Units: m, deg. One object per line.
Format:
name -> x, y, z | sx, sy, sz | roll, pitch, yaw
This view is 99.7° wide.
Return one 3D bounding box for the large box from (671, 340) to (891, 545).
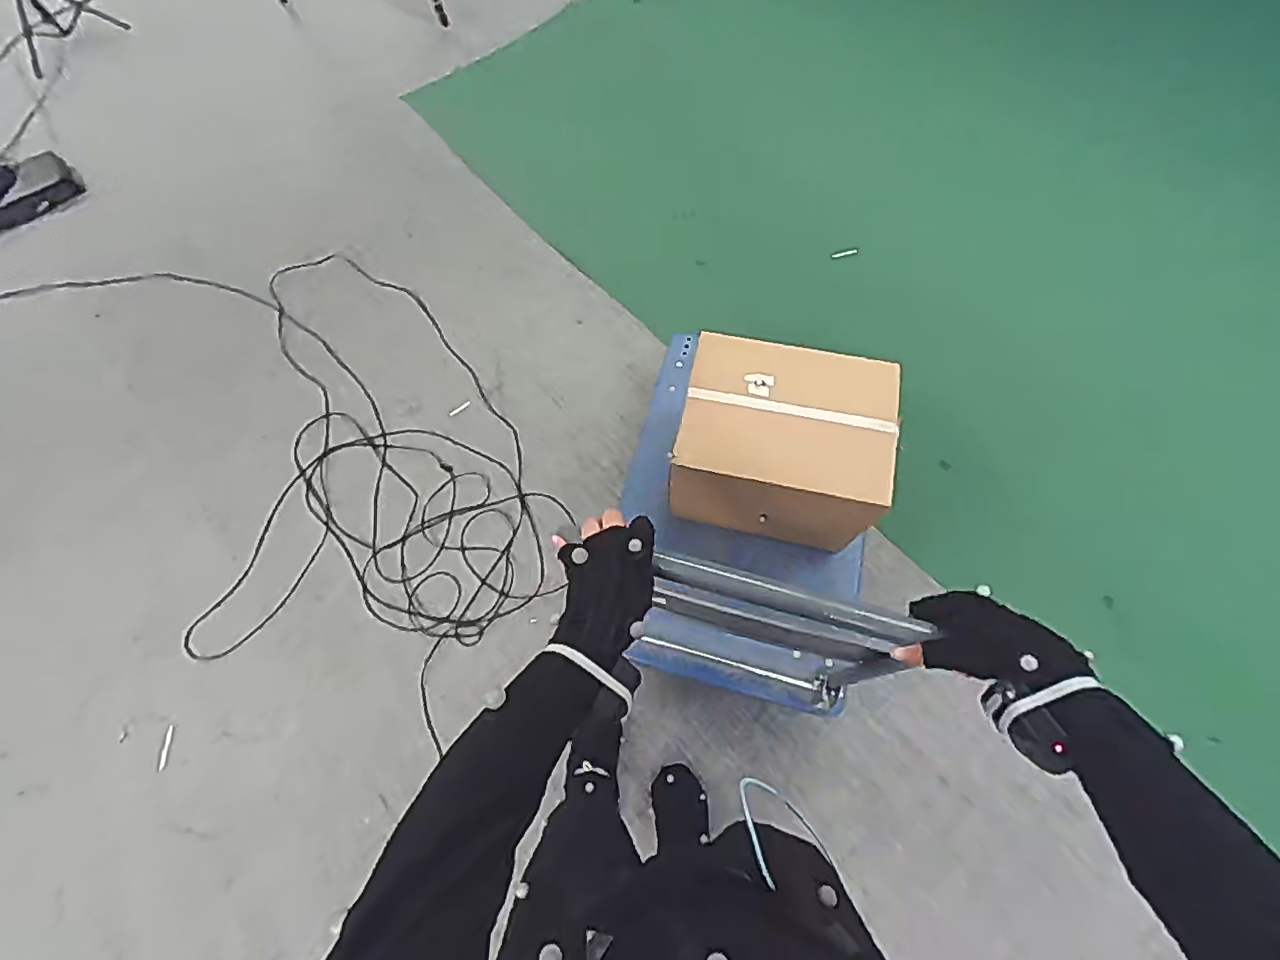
large box -> 0.294, -0.071, 1.200 | 0.408, 0.320, 0.320 | 11, 68, 8
